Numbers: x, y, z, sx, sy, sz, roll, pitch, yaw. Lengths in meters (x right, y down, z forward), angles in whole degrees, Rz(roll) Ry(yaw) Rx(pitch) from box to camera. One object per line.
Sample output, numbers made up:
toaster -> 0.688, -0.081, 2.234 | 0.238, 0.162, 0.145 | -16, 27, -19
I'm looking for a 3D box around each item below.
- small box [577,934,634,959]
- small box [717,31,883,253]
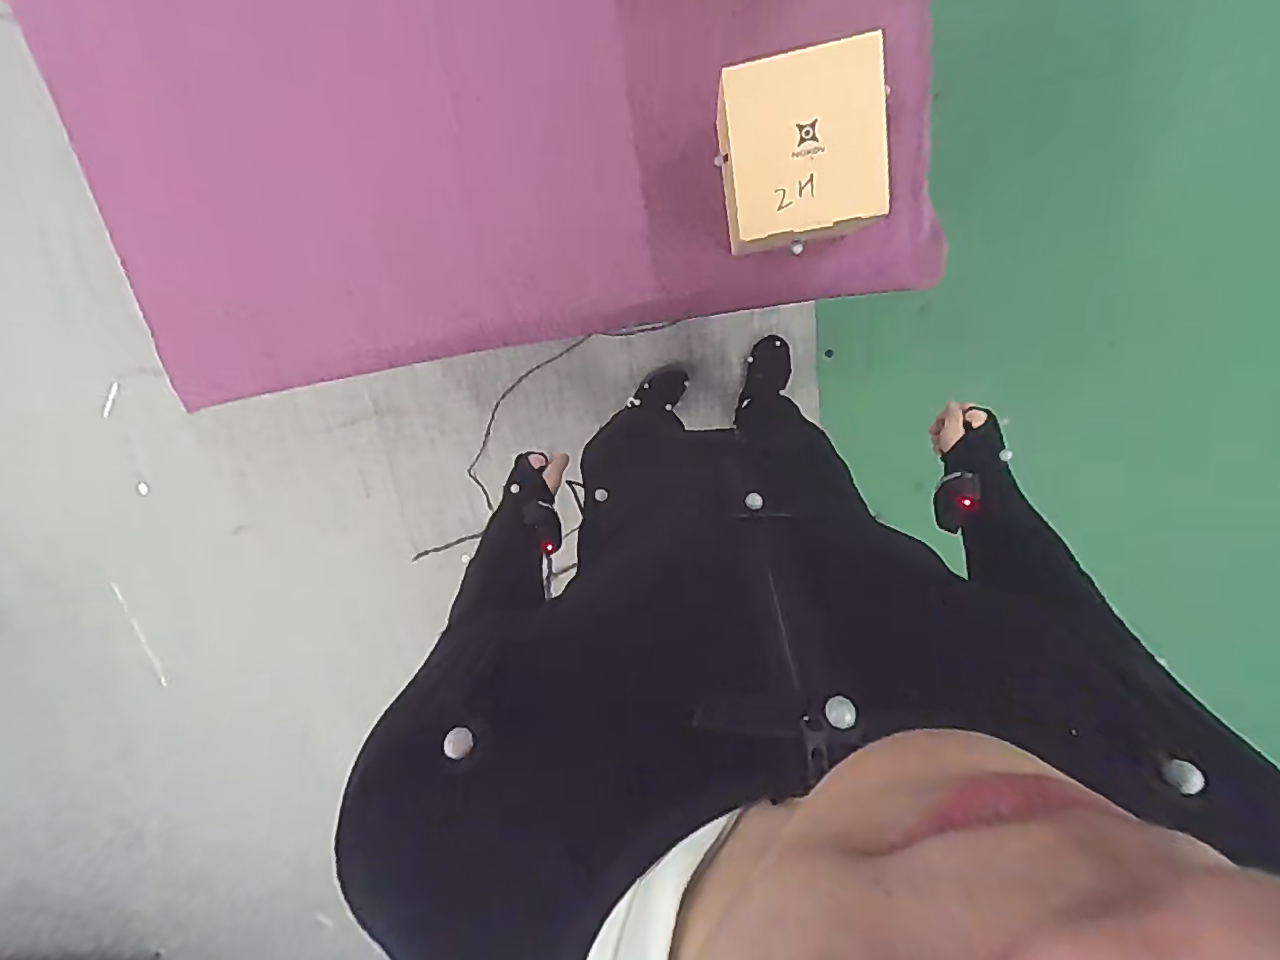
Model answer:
small box -> -0.107, 1.519, 1.632 | 0.168, 0.176, 0.179 | -3, 108, 6
small box -> 0.185, -0.392, 0.663 | 0.168, 0.176, 0.179 | -7, 106, 9
